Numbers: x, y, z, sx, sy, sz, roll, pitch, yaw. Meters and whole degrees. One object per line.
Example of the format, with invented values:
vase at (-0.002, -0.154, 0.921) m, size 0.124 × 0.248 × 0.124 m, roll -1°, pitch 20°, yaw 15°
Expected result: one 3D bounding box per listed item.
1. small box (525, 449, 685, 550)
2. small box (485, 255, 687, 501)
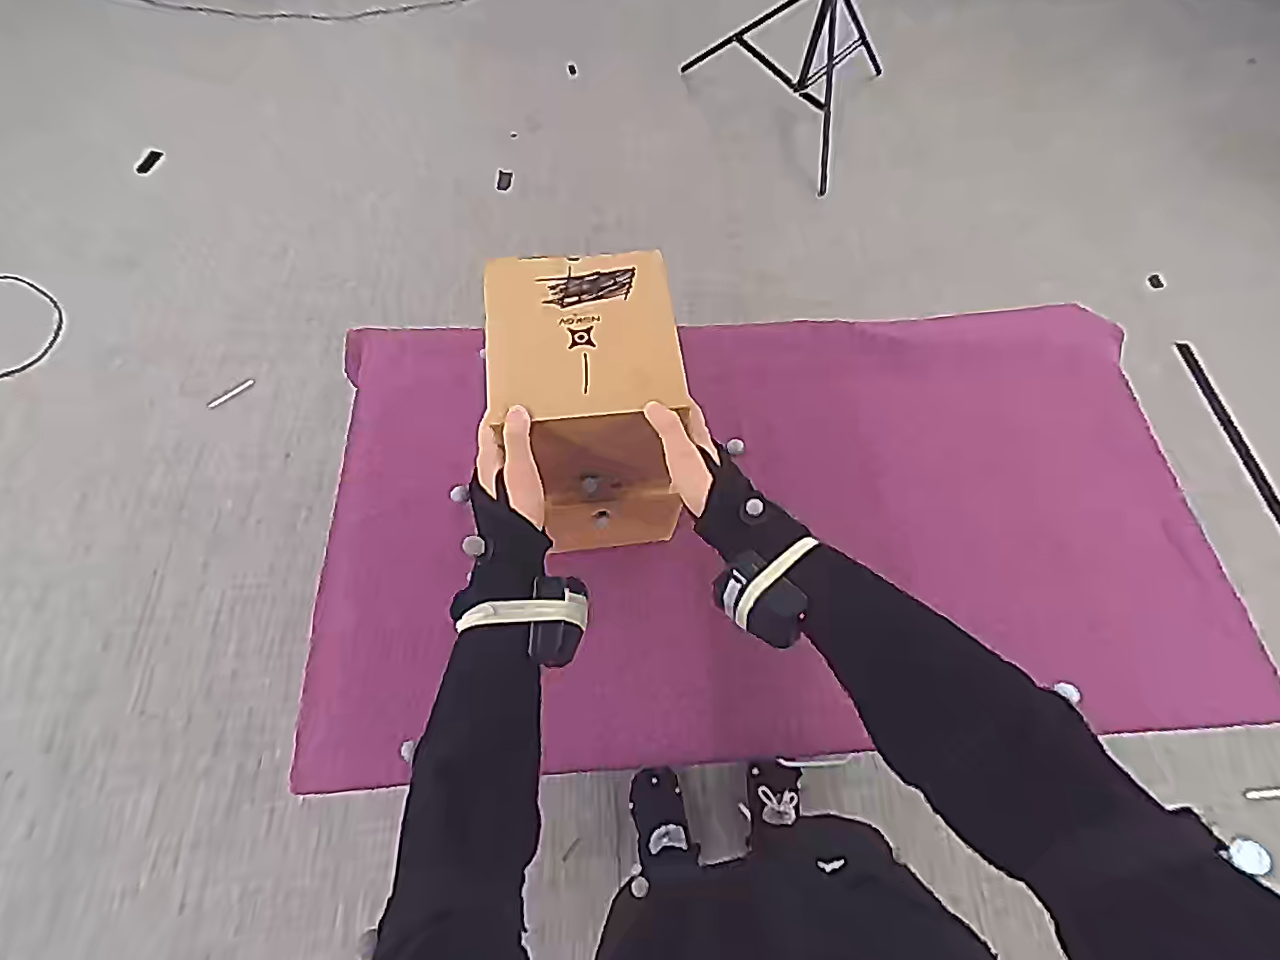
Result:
small box at (-0.050, -0.017, 0.687) m, size 0.179 × 0.176 × 0.168 m, roll -6°, pitch 67°, yaw -5°
small box at (-0.055, -0.095, 0.541) m, size 0.168 × 0.176 × 0.179 m, roll -6°, pitch 67°, yaw -5°
